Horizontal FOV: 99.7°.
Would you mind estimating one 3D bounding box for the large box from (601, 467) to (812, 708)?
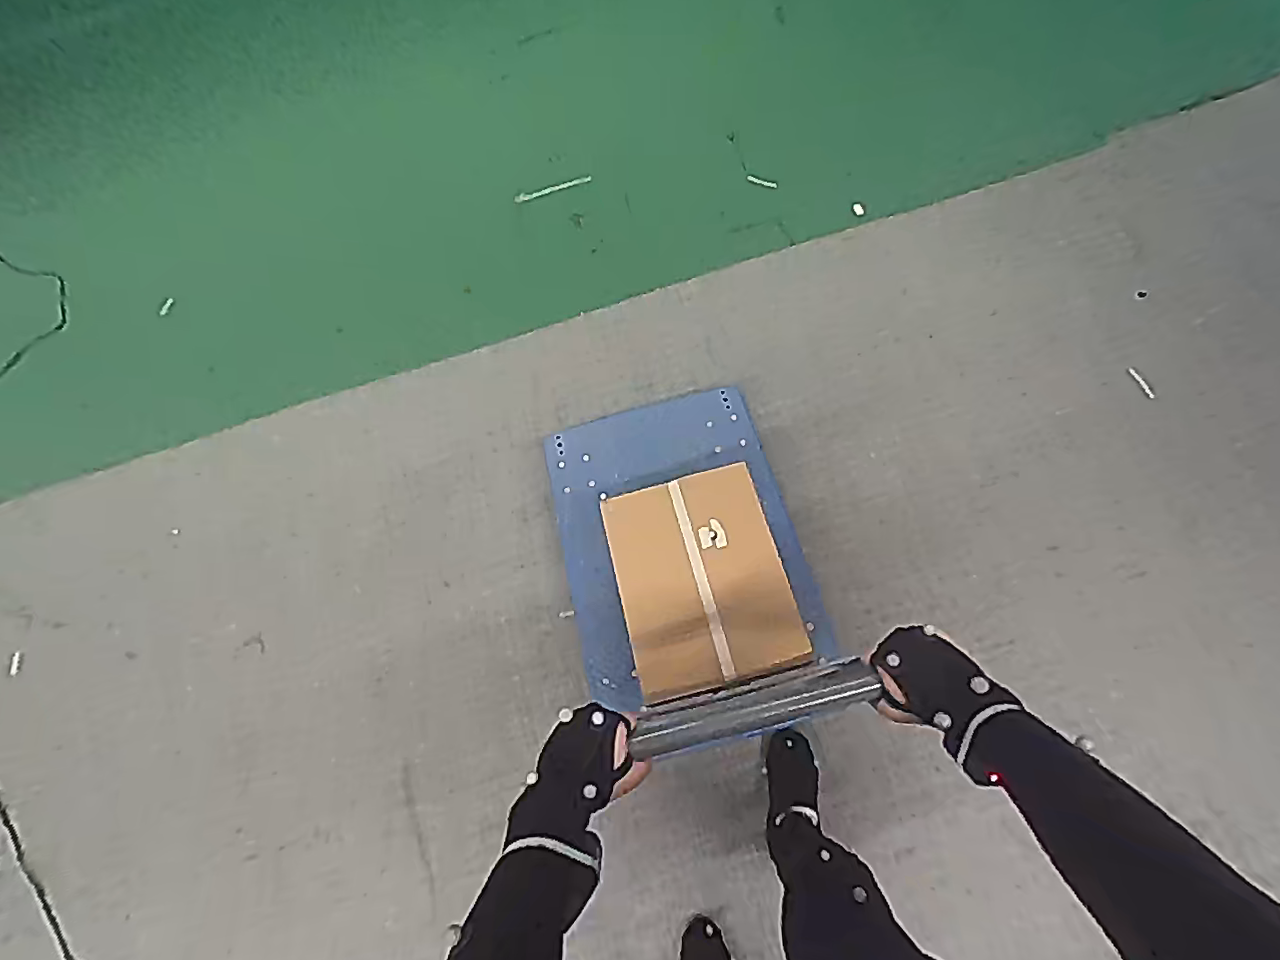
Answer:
[{"bbox_3d":[0.132,0.244,1.170,0.320,0.320,0.408,-15,65,0],"label":"large box"}]
